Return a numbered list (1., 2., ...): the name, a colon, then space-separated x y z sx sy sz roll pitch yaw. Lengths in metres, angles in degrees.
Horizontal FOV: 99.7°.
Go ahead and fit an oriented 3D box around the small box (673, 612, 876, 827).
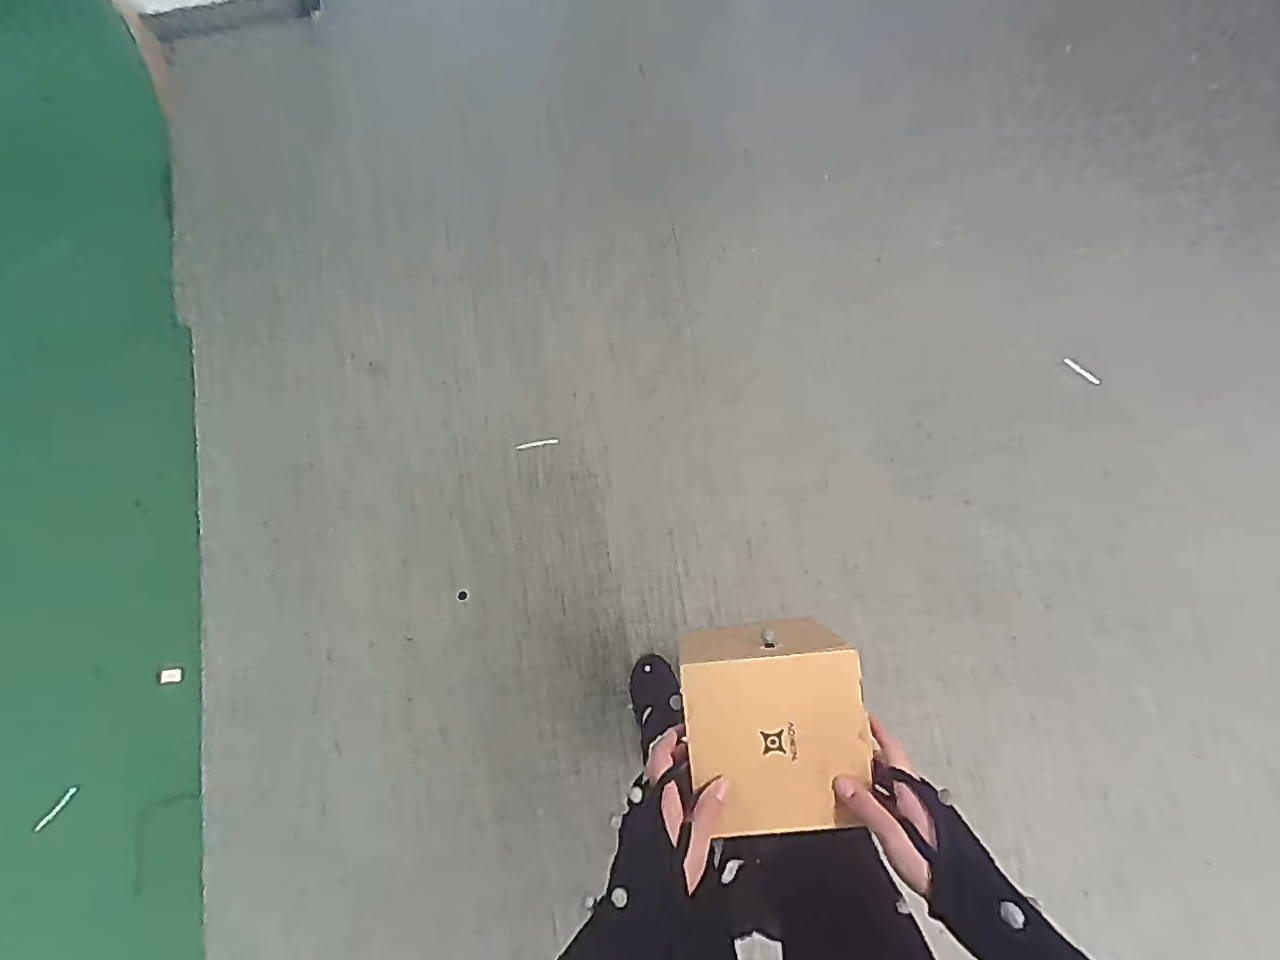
1. small box: 0.131 0.245 0.592 0.179 0.176 0.168 -6 85 2
